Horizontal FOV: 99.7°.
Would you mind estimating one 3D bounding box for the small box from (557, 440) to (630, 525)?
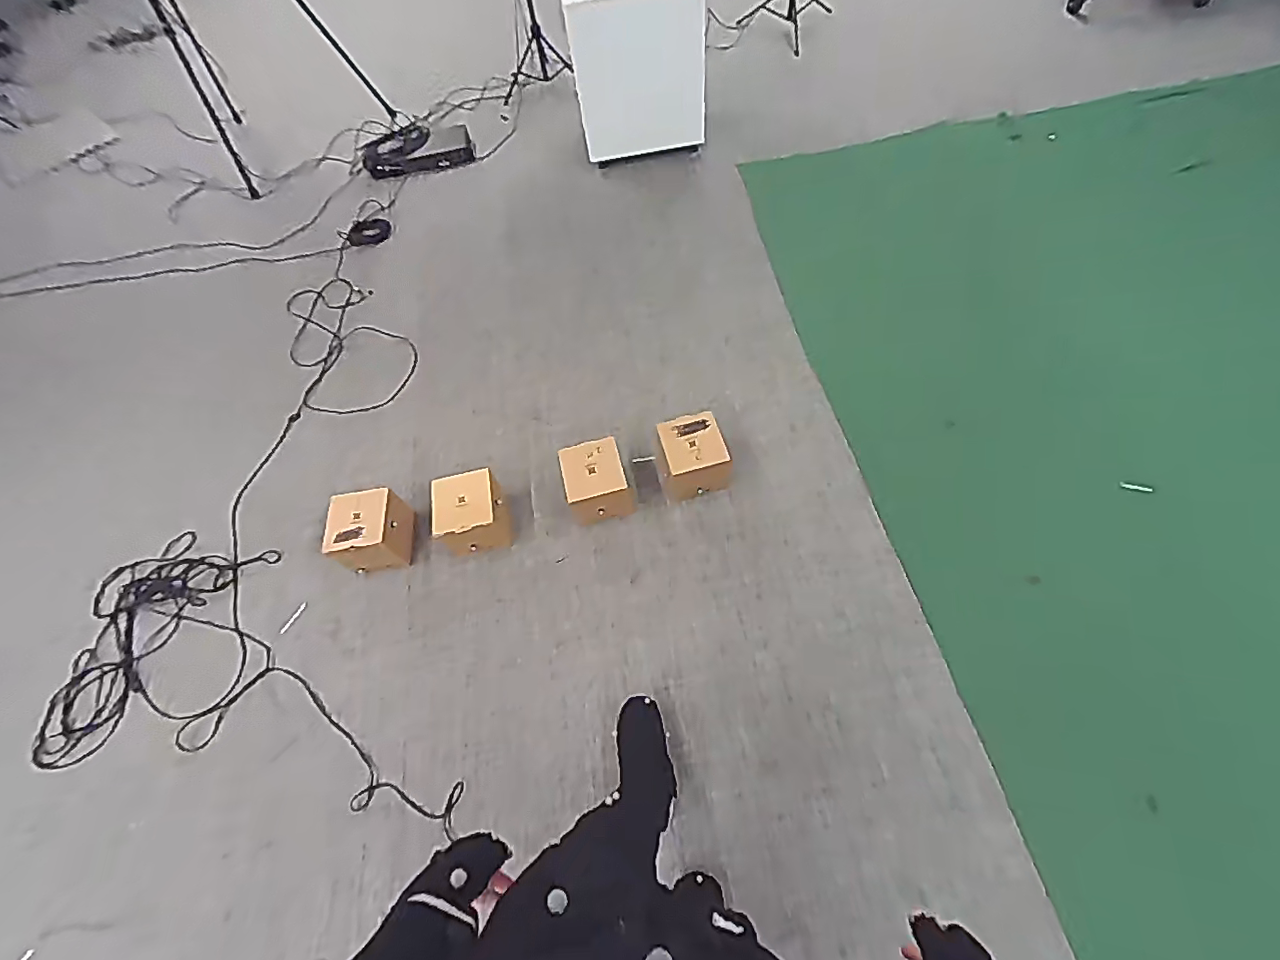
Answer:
[{"bbox_3d":[-0.129,0.015,1.551,0.168,0.176,0.179,-14,61,-3],"label":"small box"}]

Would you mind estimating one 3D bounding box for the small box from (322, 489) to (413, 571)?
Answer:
[{"bbox_3d":[-0.766,0.149,1.540,0.168,0.176,0.179,-9,60,1],"label":"small box"}]

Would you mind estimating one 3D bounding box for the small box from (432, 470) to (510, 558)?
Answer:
[{"bbox_3d":[-0.479,0.100,1.540,0.168,0.176,0.179,-13,61,-2],"label":"small box"}]
